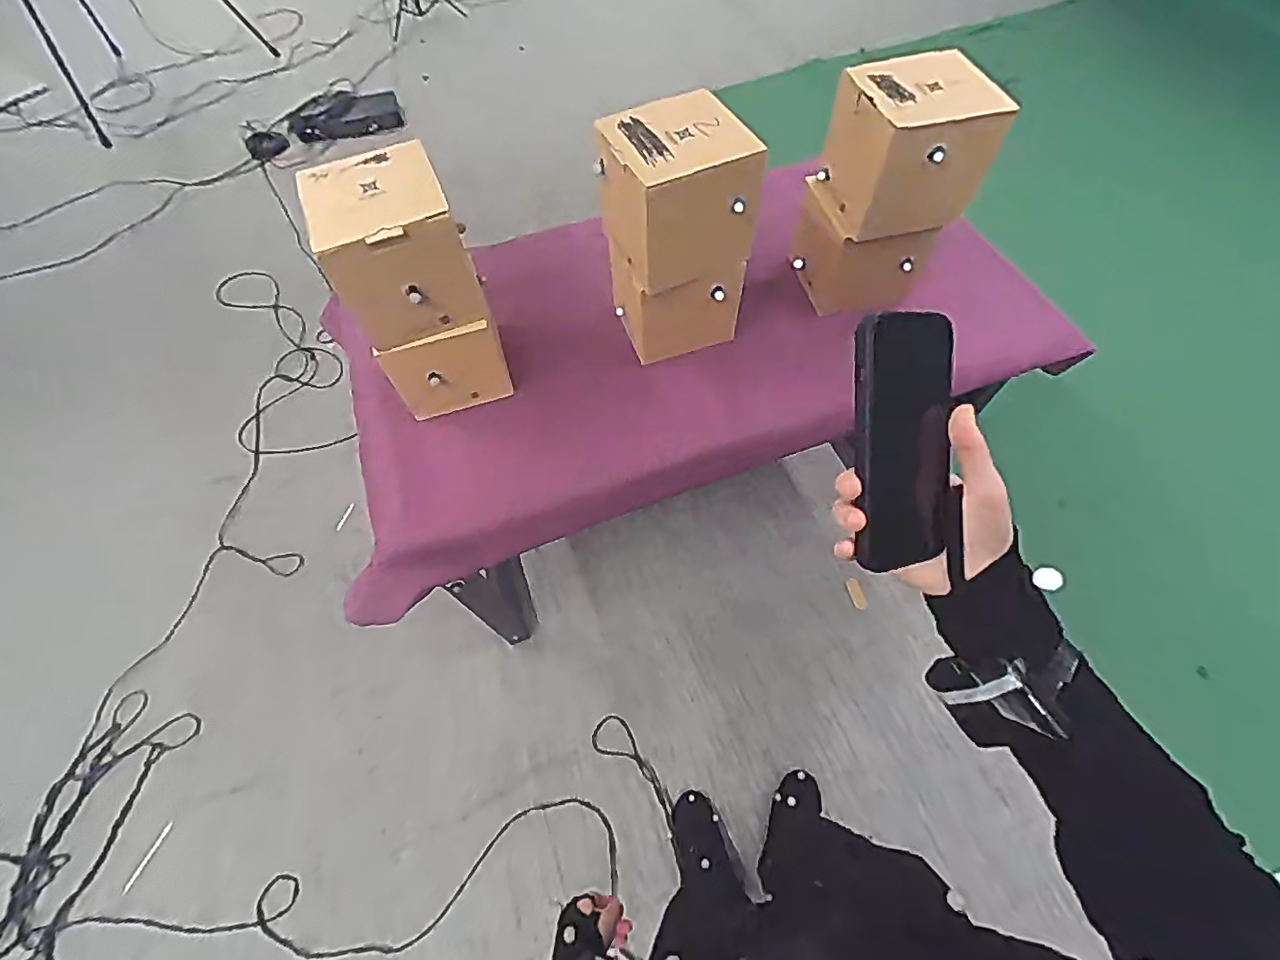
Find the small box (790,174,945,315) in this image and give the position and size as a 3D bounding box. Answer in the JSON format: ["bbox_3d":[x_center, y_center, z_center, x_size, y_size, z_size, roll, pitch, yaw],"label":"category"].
[{"bbox_3d":[0.386,-0.420,0.952,0.179,0.176,0.168,-12,61,-3],"label":"small box"}]

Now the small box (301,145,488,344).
[{"bbox_3d":[-0.326,-0.311,0.742,0.168,0.176,0.179,-22,63,-9],"label":"small box"}]

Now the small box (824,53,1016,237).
[{"bbox_3d":[0.392,-0.488,0.802,0.179,0.176,0.168,-12,61,-4],"label":"small box"}]

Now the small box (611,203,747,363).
[{"bbox_3d":[0.060,-0.328,0.917,0.179,0.176,0.168,-18,62,-7],"label":"small box"}]

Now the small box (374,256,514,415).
[{"bbox_3d":[-0.316,-0.226,0.882,0.168,0.176,0.179,-17,62,-6],"label":"small box"}]
